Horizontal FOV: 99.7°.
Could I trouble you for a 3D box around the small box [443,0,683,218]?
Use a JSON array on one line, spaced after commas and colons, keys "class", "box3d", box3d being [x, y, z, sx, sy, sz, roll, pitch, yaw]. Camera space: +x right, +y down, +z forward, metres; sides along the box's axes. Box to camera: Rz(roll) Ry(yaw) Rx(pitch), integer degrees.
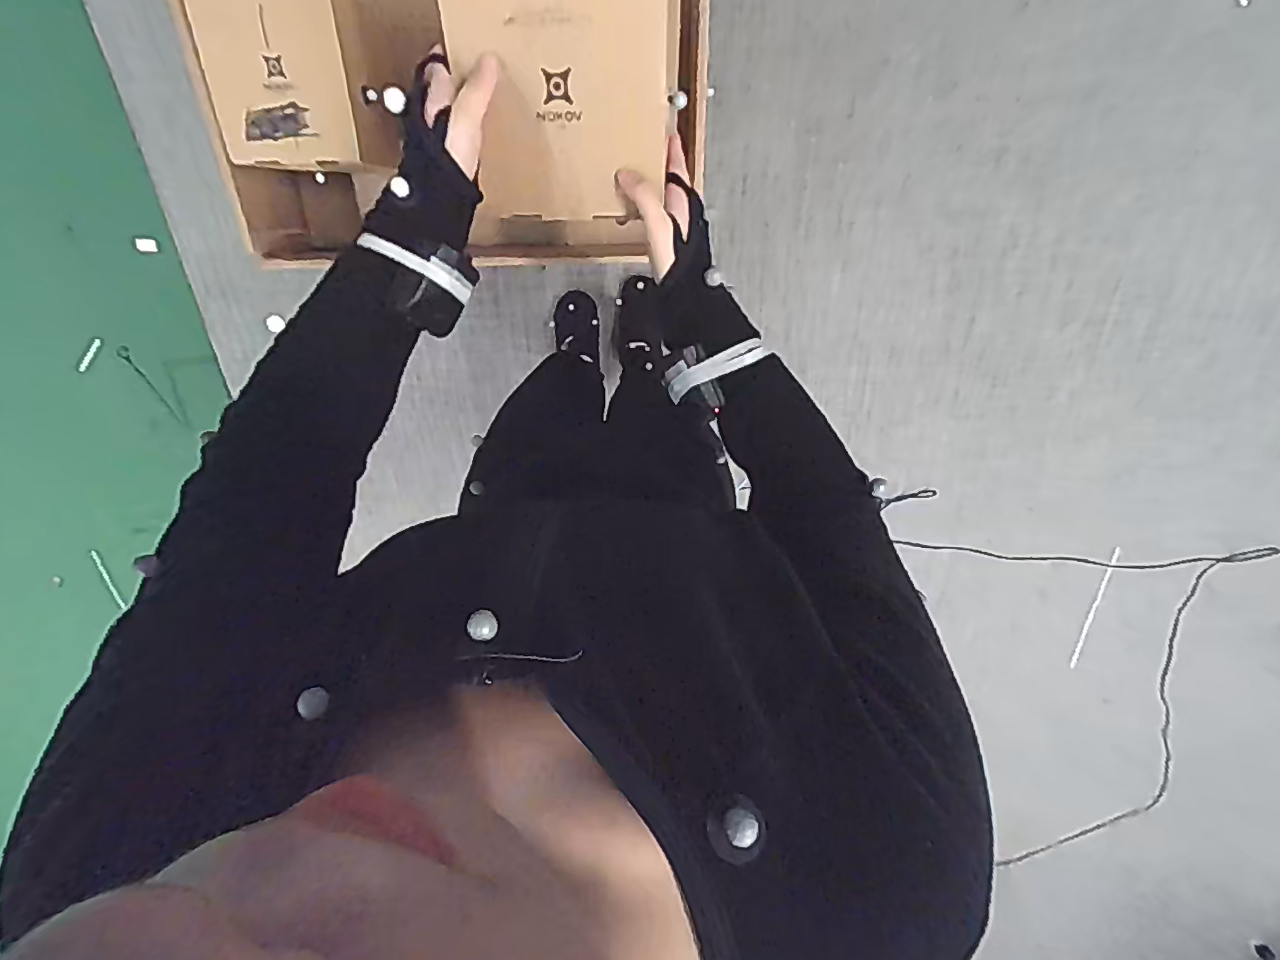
[{"class": "small box", "box3d": [-0.051, -0.341, 0.474, 0.168, 0.176, 0.179, 4, 124, 5]}]
